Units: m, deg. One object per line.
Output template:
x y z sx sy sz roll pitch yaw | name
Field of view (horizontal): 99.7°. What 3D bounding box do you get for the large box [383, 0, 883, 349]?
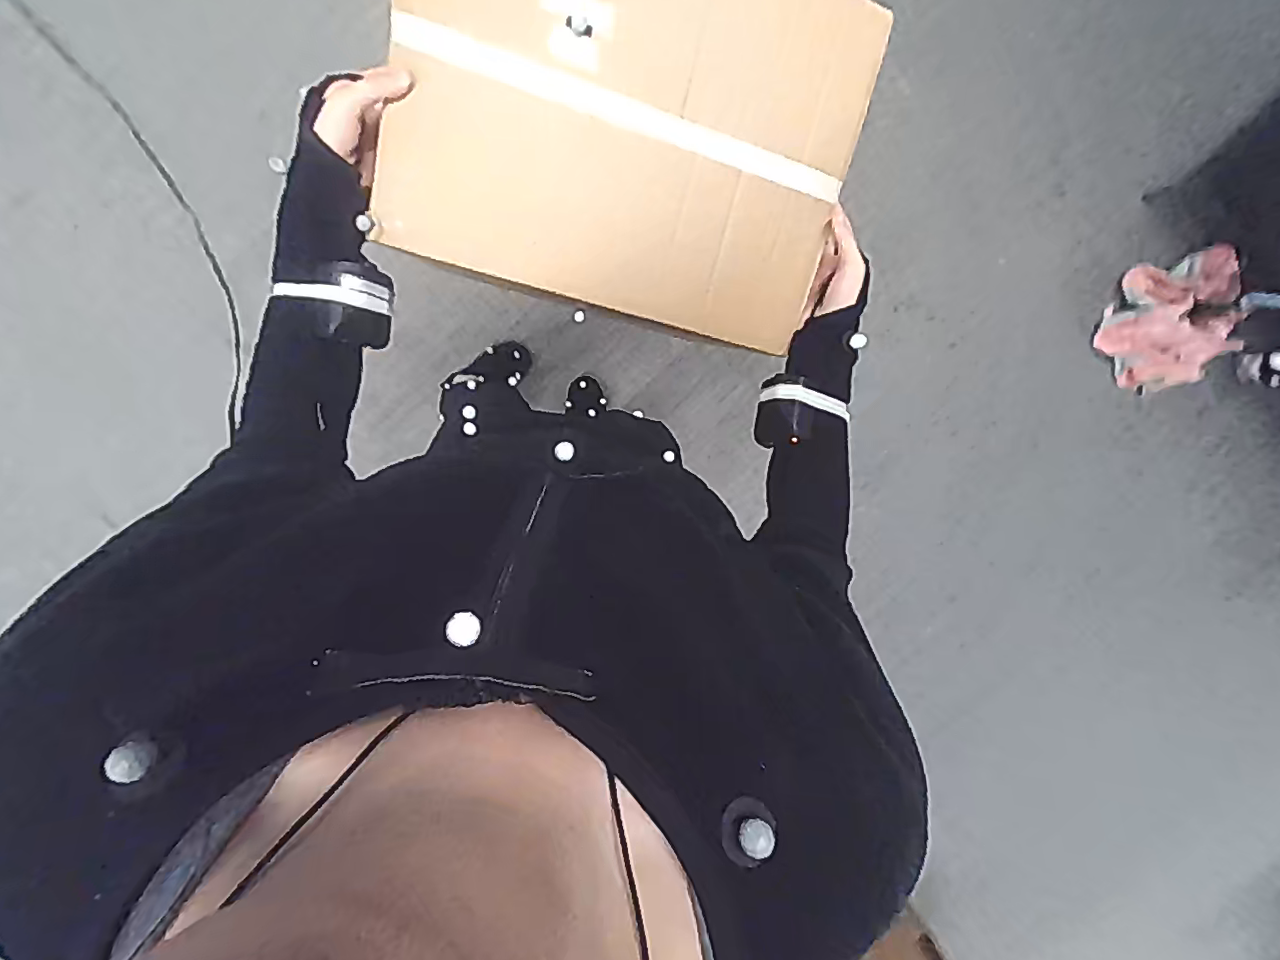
-0.027 -0.357 0.620 0.408 0.320 0.320 11 104 -14 | large box
